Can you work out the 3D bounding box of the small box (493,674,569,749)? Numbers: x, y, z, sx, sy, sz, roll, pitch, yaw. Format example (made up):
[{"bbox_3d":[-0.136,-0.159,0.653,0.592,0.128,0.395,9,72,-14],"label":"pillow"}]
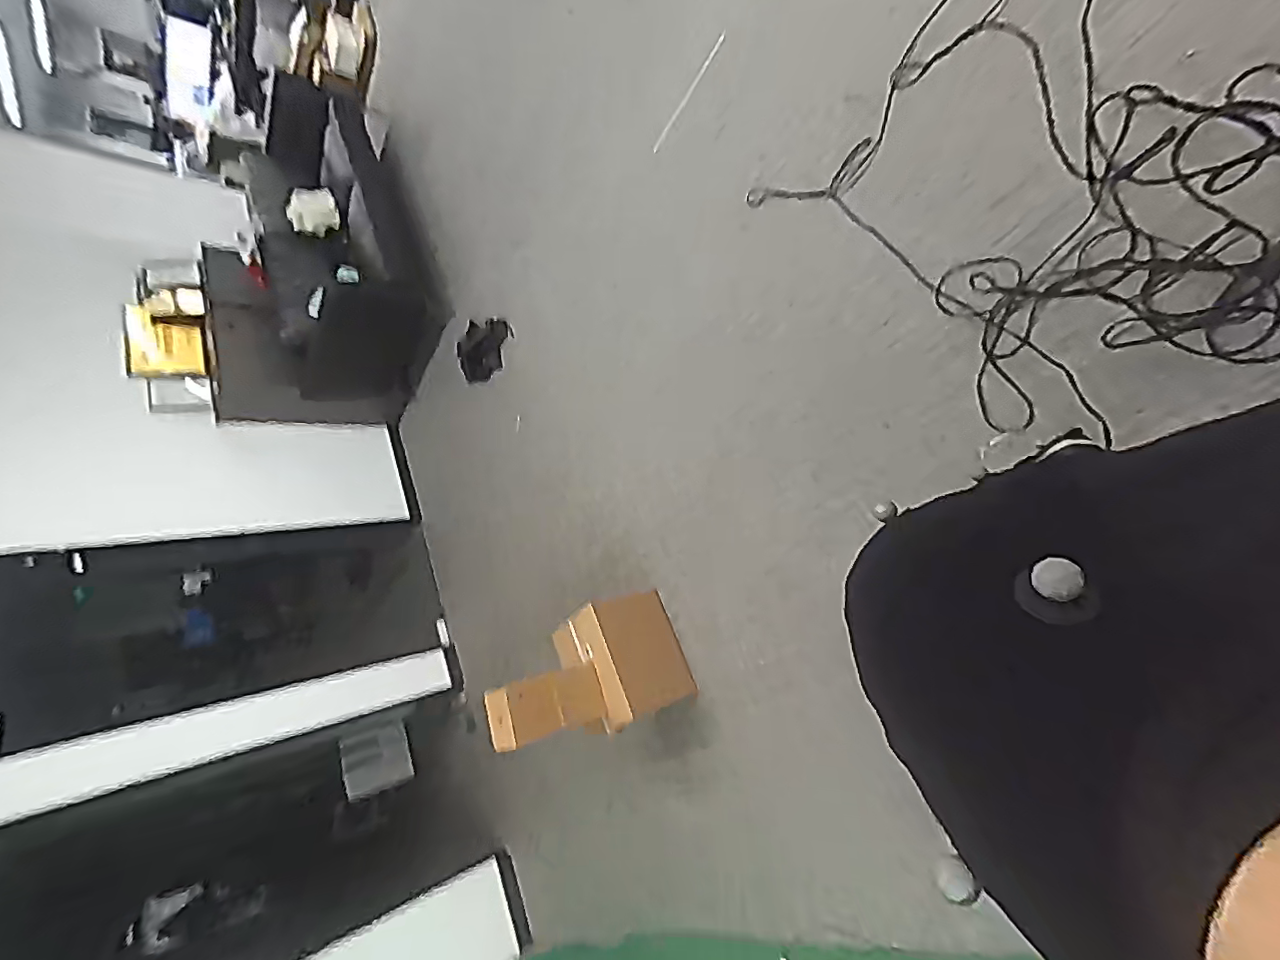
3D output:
[{"bbox_3d":[-0.348,0.741,1.730,0.168,0.176,0.179,-33,67,45],"label":"small box"}]

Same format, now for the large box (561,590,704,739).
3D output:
[{"bbox_3d":[-0.034,0.667,1.986,0.320,0.320,0.408,-45,59,39],"label":"large box"}]
